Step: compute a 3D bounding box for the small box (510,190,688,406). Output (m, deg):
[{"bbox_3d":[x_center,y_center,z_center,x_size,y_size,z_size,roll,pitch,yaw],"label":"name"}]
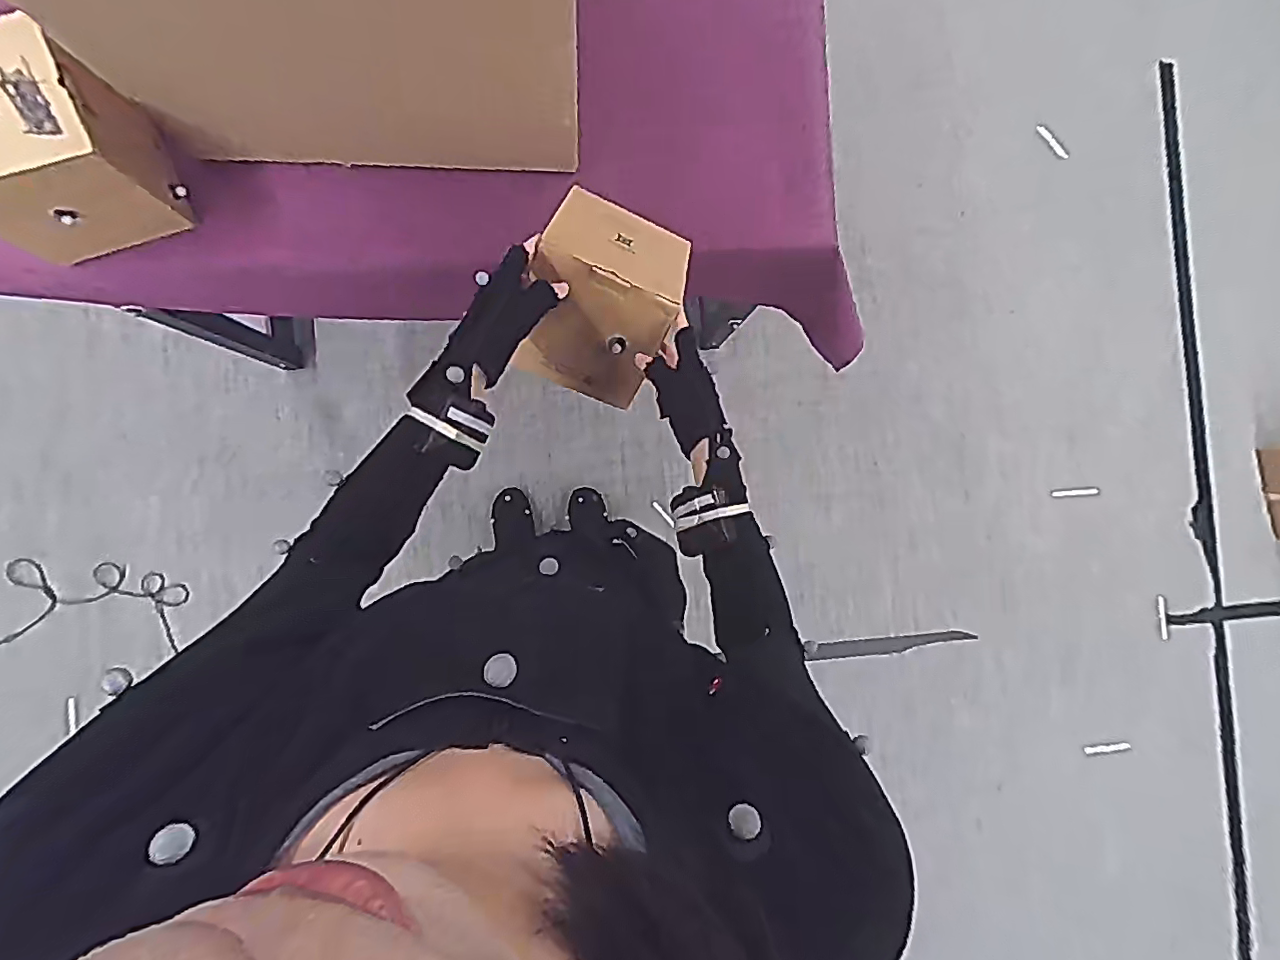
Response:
[{"bbox_3d":[-0.052,-0.223,0.681,0.168,0.179,0.176,21,132,-12],"label":"small box"}]
